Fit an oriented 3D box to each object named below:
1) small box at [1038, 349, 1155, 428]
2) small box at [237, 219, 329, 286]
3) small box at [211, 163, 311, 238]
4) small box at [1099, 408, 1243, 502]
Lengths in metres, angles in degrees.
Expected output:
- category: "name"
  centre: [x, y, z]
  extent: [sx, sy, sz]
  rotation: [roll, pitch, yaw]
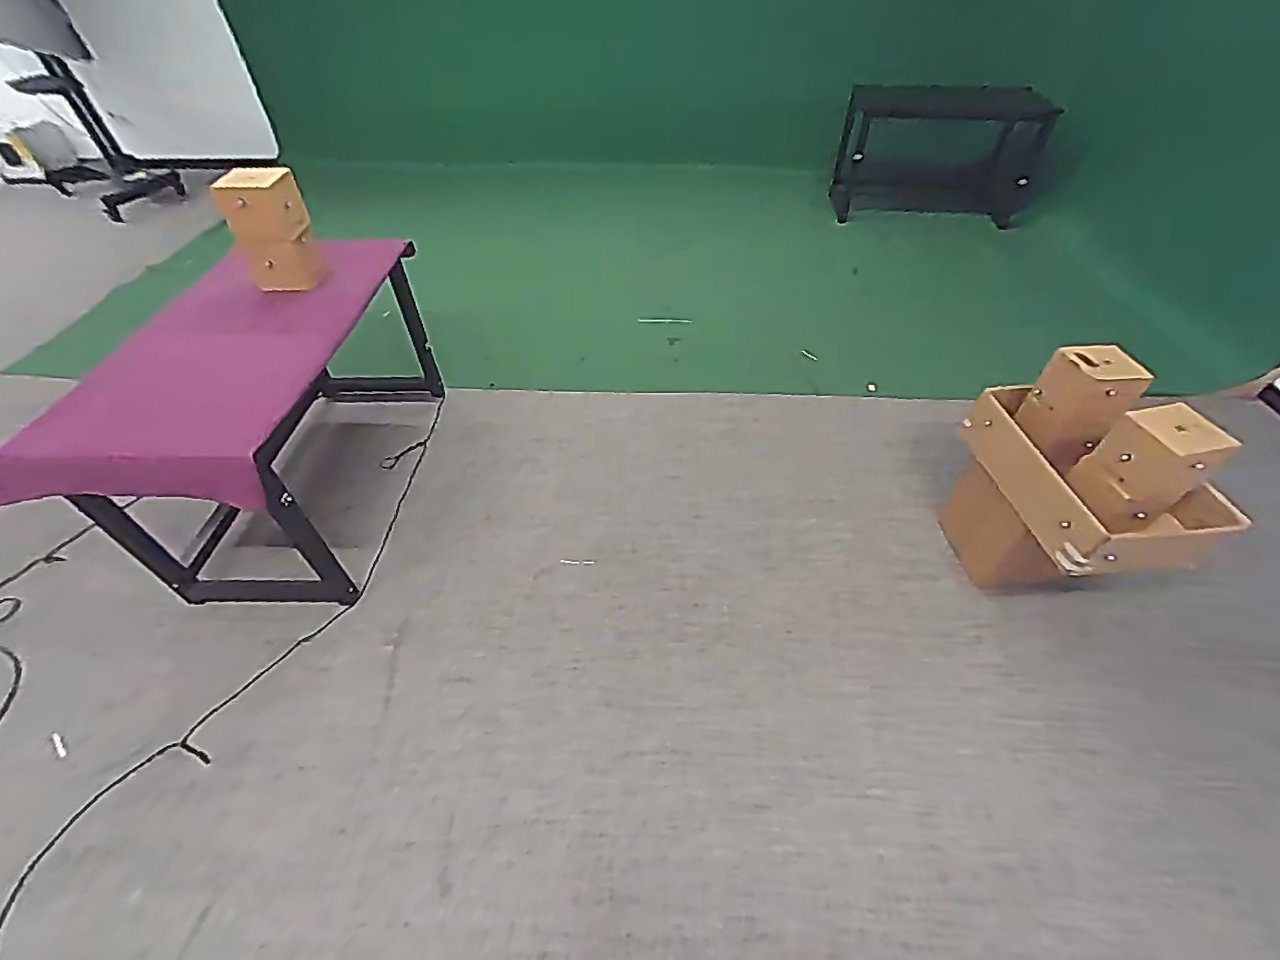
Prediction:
- category: "small box"
  centre: [1.311, -0.264, 1.576]
  extent: [0.179, 0.176, 0.168]
  rotation: [-1, 46, -3]
- category: "small box"
  centre: [-1.199, -0.771, 1.832]
  extent: [0.179, 0.176, 0.168]
  rotation: [-2, 48, -1]
- category: "small box"
  centre: [-1.187, -0.883, 1.713]
  extent: [0.179, 0.176, 0.168]
  rotation: [-1, 48, -1]
- category: "small box"
  centre: [1.334, -0.060, 1.382]
  extent: [0.179, 0.176, 0.168]
  rotation: [-8, 48, -7]
